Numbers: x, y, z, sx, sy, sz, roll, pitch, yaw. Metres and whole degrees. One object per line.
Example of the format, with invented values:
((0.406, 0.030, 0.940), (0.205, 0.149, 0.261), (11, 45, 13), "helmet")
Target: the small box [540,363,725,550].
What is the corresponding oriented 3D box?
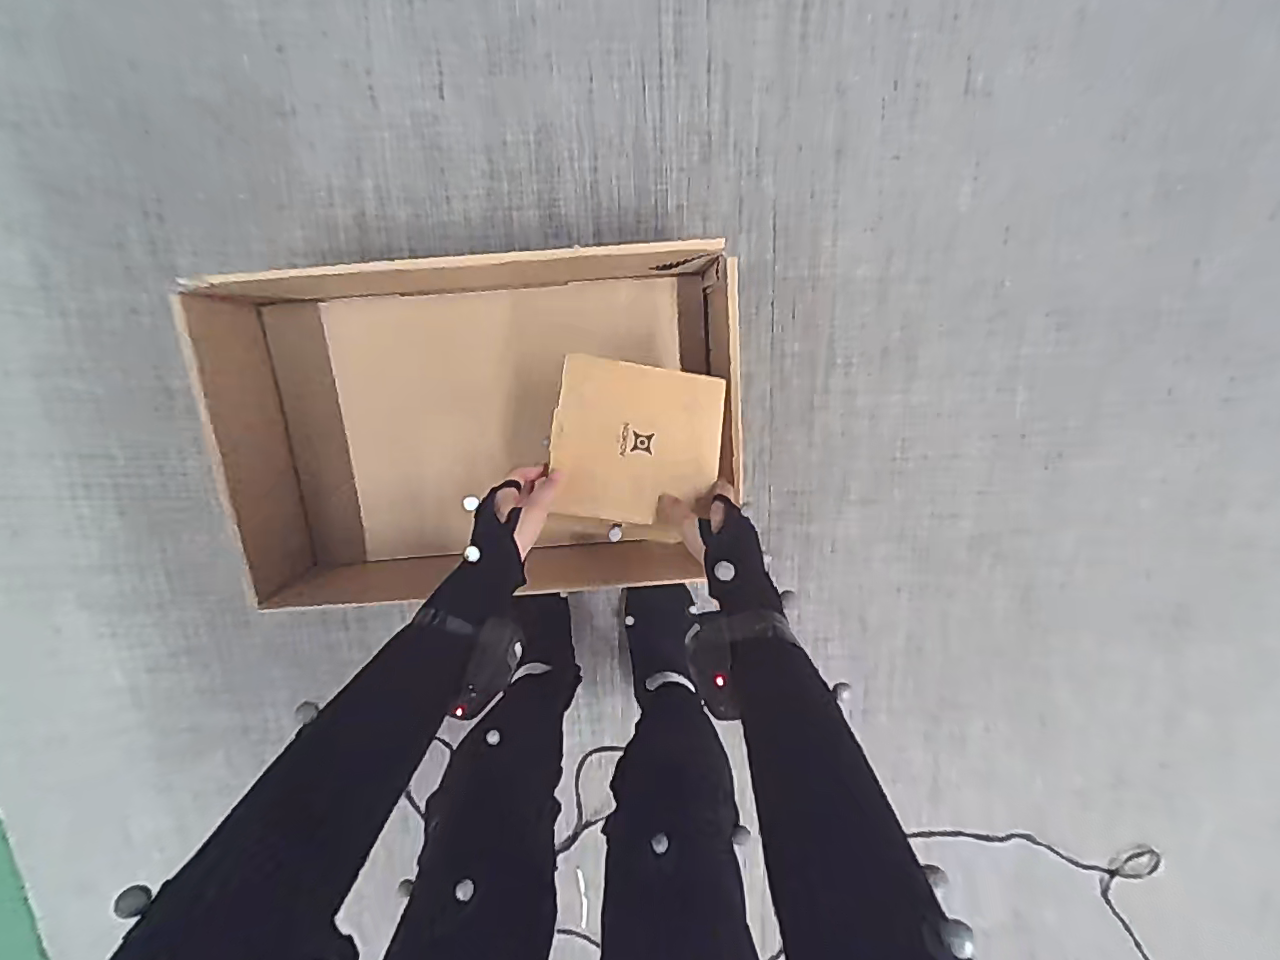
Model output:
((-0.016, -0.014, 0.627), (0.179, 0.176, 0.168), (8, 77, -7), "small box")
